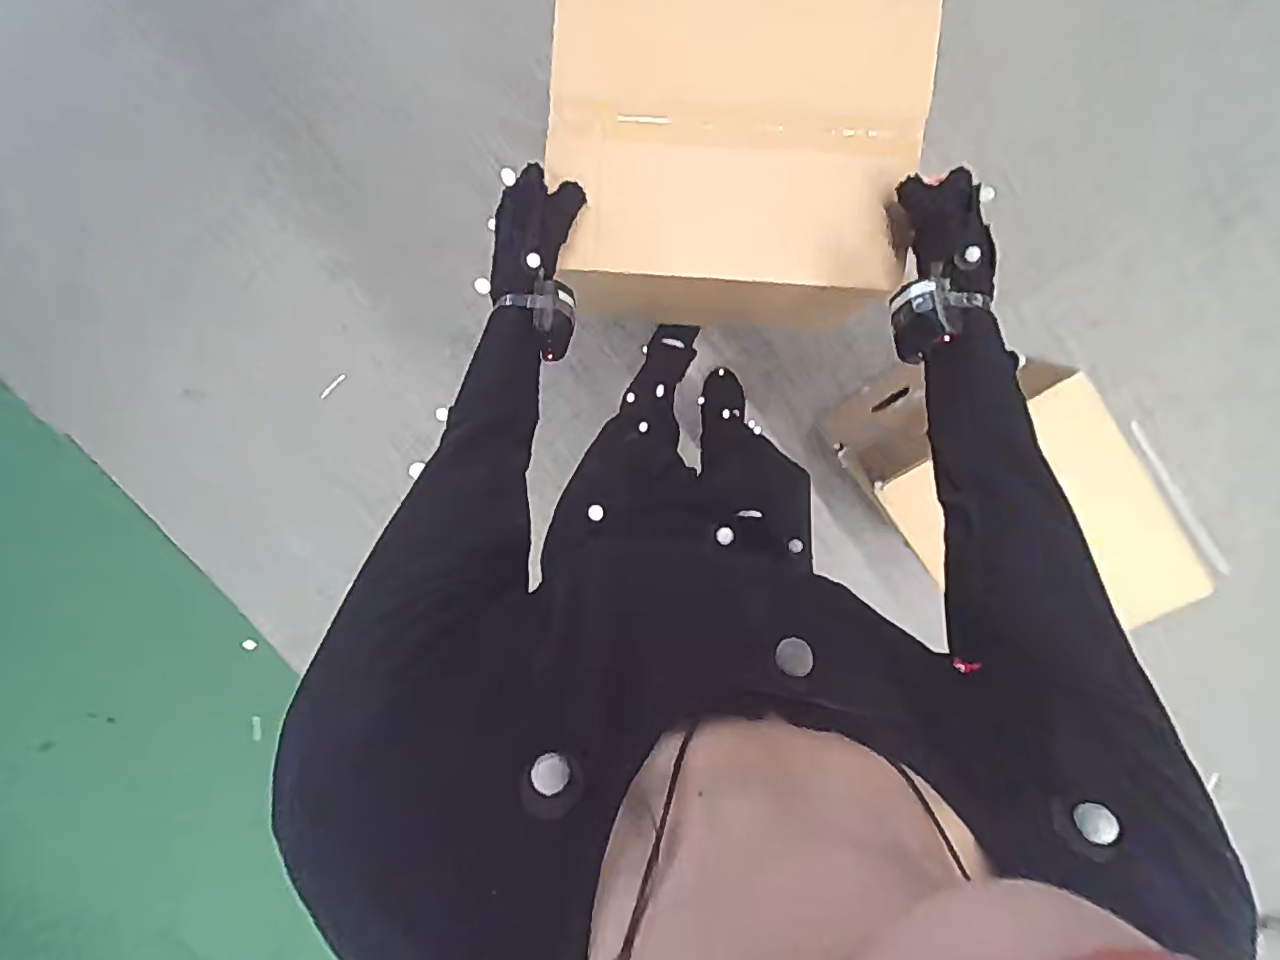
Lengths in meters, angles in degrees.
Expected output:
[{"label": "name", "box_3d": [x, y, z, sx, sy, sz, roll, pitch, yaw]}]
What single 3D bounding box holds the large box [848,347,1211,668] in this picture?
[{"label": "large box", "box_3d": [0.622, 0.032, 0.943, 0.320, 0.320, 0.408, -34, 98, 21]}]
